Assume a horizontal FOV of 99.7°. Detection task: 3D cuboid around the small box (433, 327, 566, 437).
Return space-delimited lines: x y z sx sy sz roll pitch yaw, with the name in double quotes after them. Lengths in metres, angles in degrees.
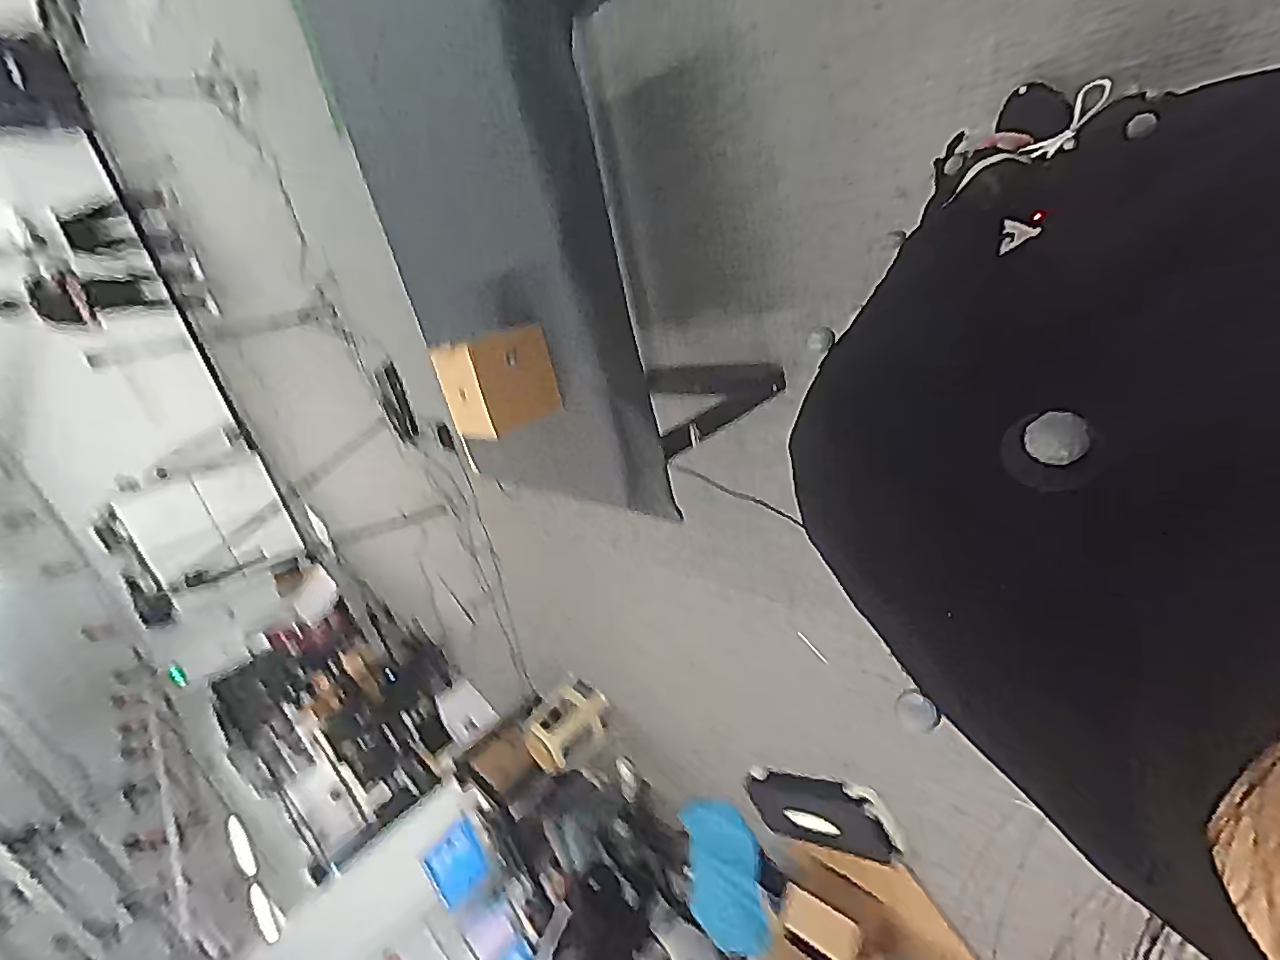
-0.274 -0.200 1.078 0.168 0.176 0.179 10 121 46 "small box"
